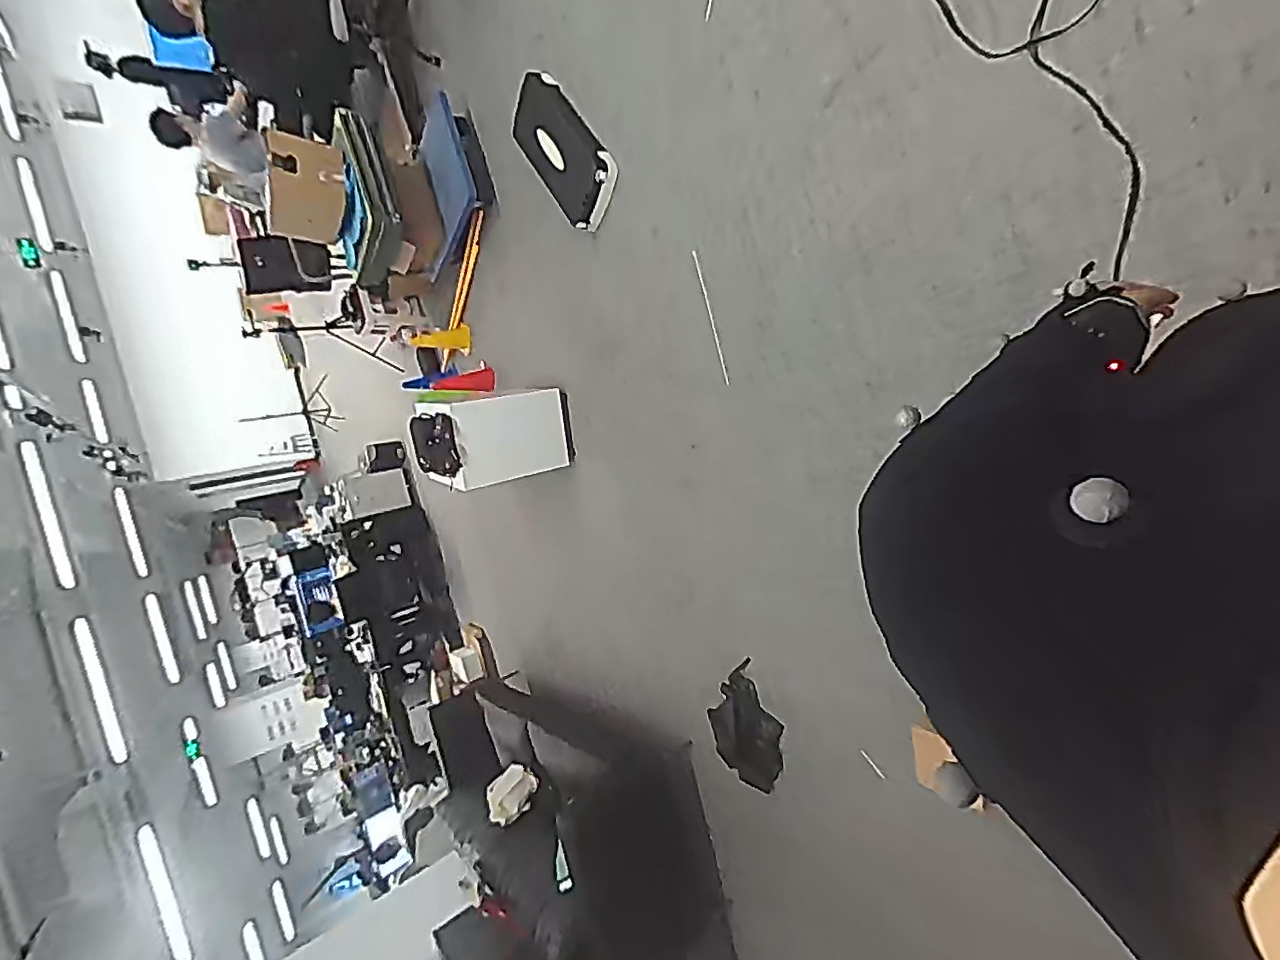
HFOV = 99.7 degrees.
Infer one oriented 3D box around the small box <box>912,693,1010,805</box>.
[{"bbox_3d":[0.841,0.690,1.414,0.168,0.176,0.179,1,105,55],"label":"small box"}]
